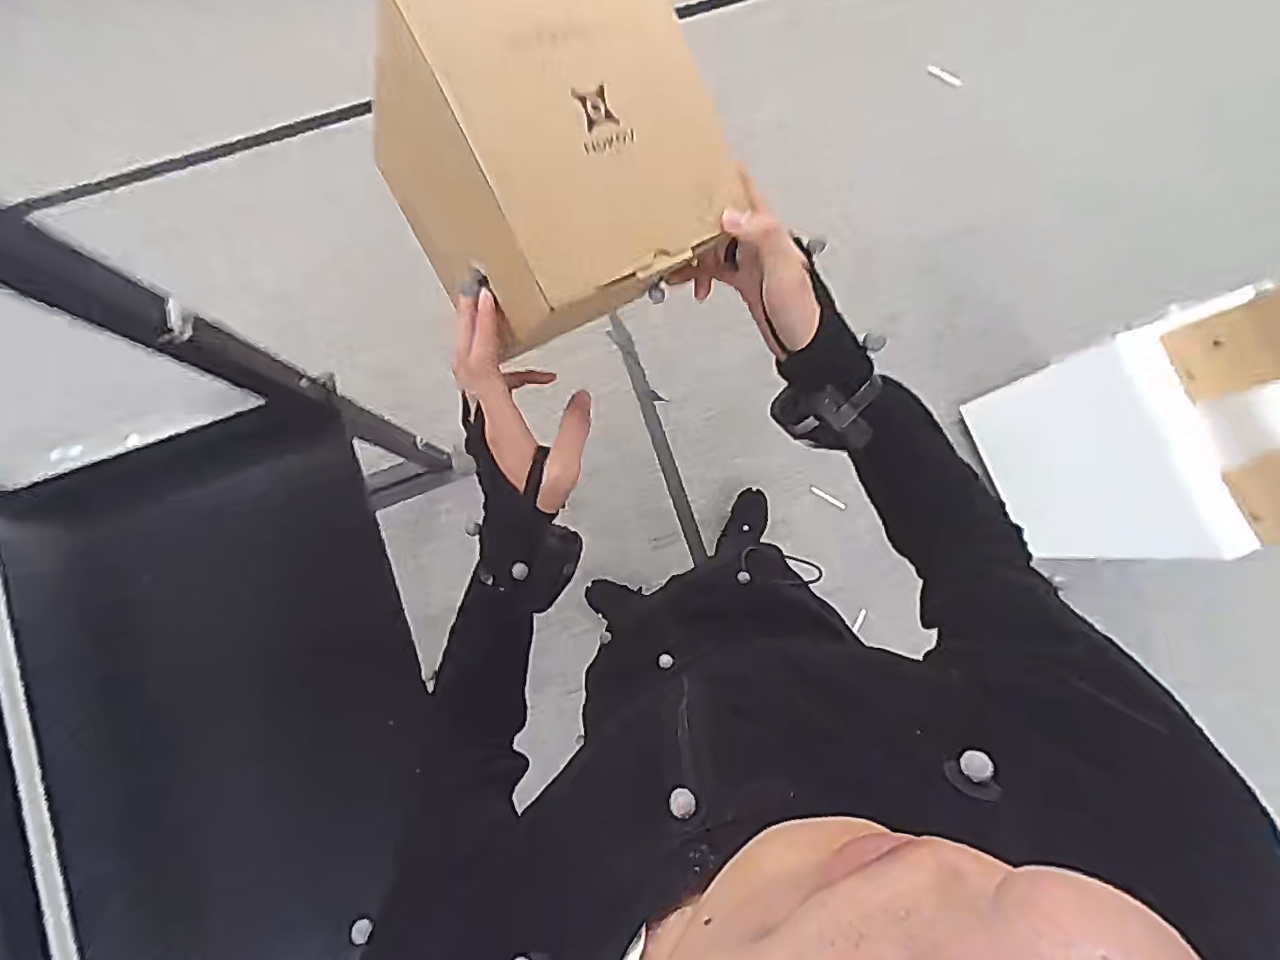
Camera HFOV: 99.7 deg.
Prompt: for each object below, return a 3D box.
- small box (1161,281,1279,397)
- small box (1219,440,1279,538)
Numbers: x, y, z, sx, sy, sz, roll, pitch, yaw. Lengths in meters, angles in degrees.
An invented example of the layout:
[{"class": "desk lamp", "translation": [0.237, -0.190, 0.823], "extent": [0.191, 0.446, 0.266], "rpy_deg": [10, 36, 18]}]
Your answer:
[{"class": "small box", "translation": [1.218, -0.284, 1.090], "extent": [0.179, 0.176, 0.168], "rpy_deg": [-20, 84, -5]}, {"class": "small box", "translation": [1.317, 0.005, 1.051], "extent": [0.179, 0.176, 0.168], "rpy_deg": [-23, 82, -5]}]
